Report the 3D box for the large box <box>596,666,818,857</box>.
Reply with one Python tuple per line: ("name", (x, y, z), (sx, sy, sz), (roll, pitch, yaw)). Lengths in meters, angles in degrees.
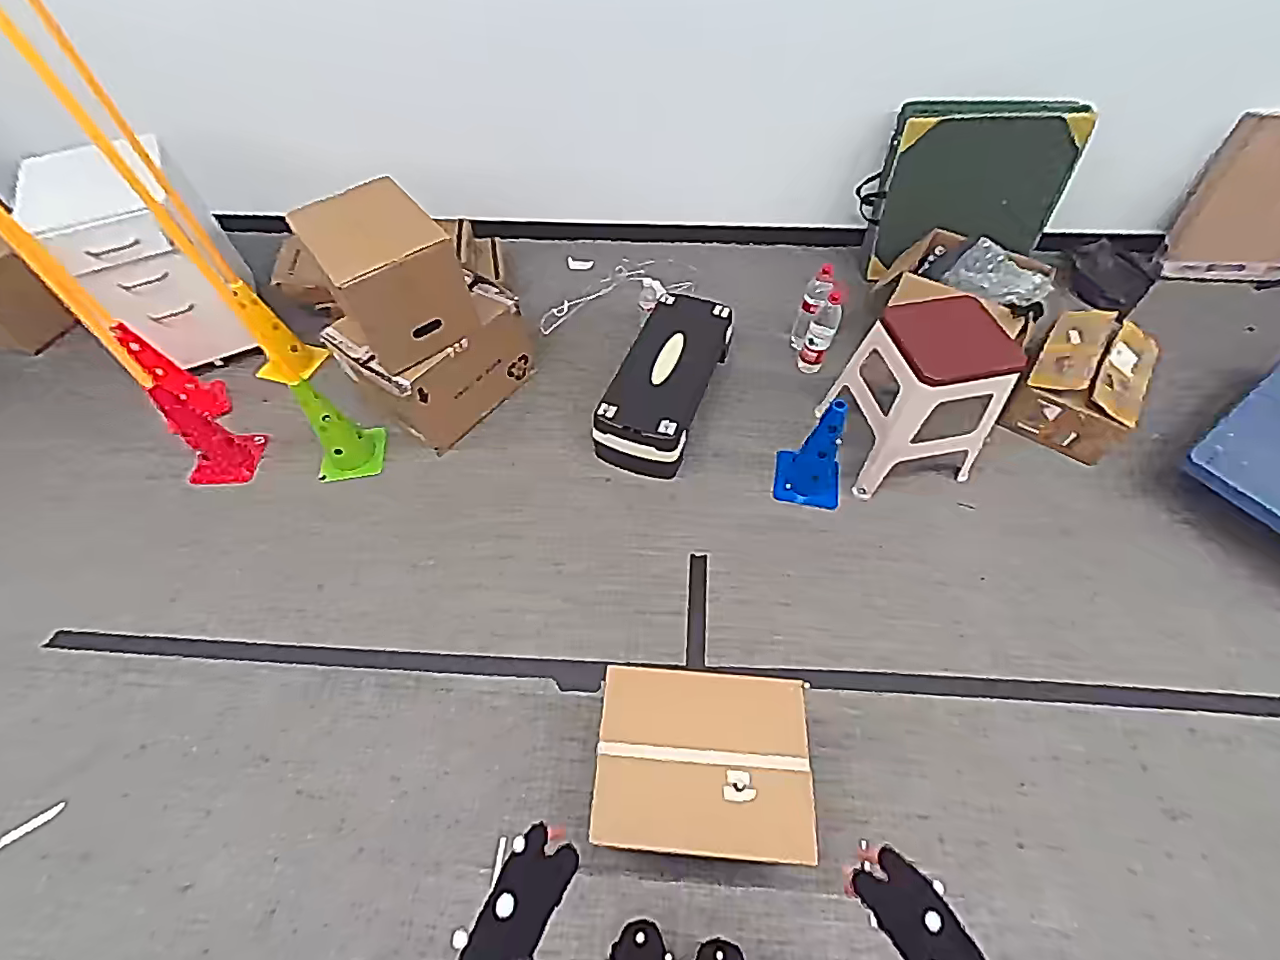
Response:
("large box", (0.125, 0.609, 1.163), (0.408, 0.320, 0.320), (4, 57, 2))
